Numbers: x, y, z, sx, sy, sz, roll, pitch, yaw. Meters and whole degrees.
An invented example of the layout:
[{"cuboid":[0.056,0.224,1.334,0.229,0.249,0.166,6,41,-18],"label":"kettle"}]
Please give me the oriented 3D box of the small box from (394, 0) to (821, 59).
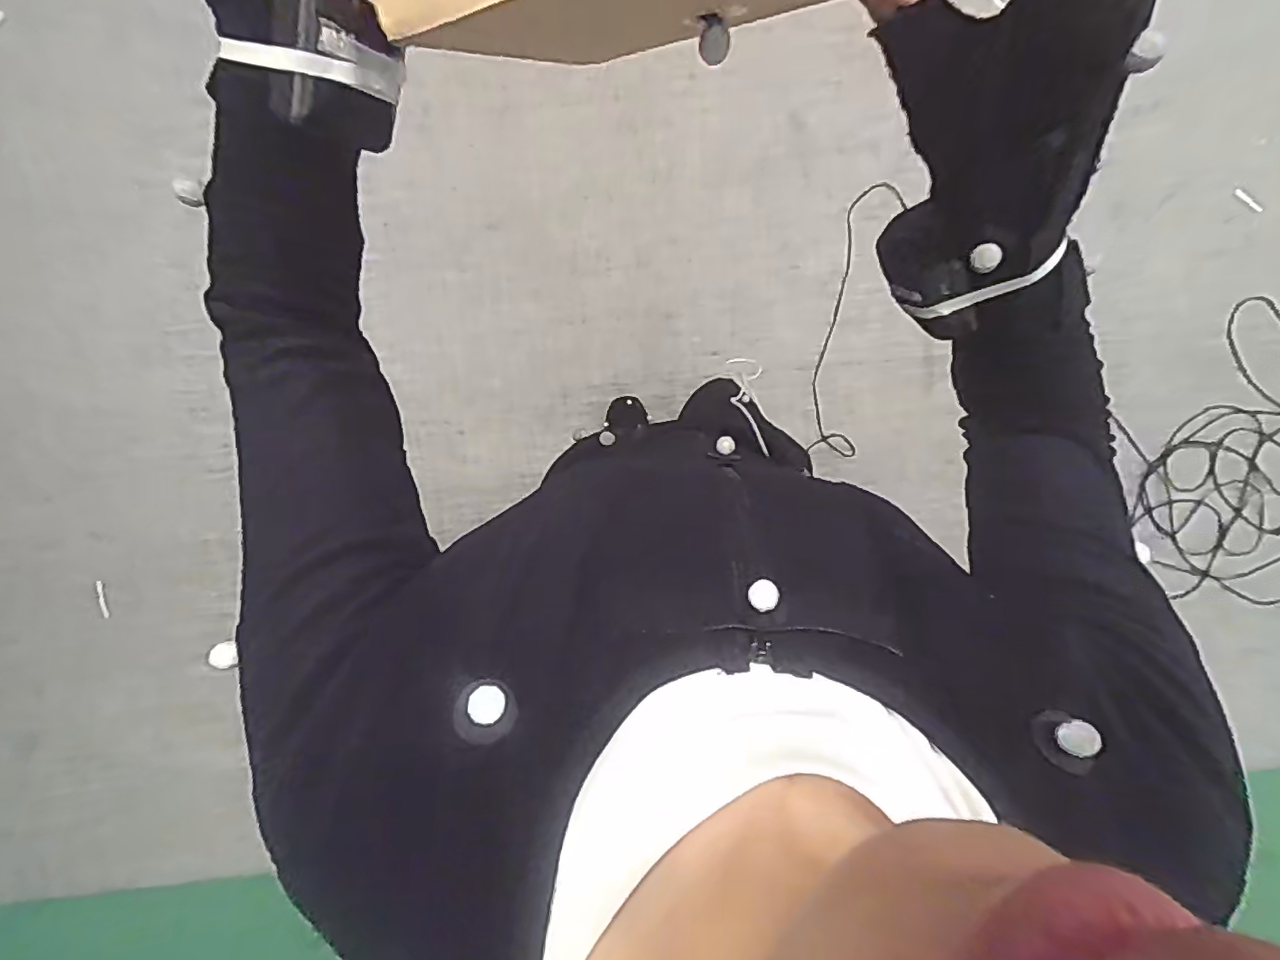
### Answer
[{"cuboid":[0.007,-0.273,0.190,0.179,0.176,0.168,3,122,23],"label":"small box"}]
